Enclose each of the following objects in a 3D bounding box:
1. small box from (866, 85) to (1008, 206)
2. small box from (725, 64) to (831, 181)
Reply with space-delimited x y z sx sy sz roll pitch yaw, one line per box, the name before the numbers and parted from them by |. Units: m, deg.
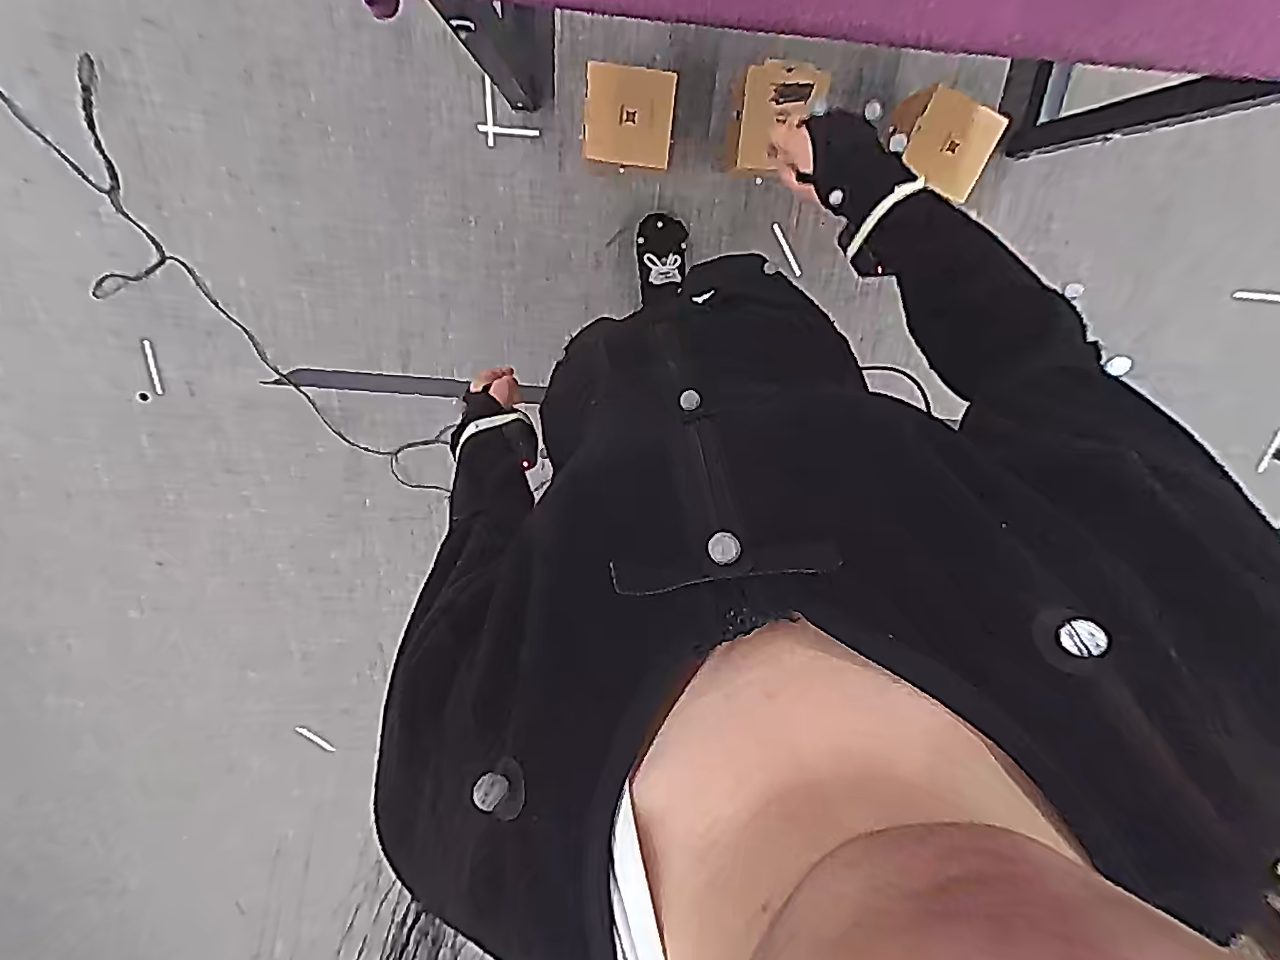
small box | 0.636 -0.716 1.180 0.179 0.176 0.168 19 112 -9
small box | 0.282 -0.749 1.150 0.168 0.176 0.179 2 114 -3
